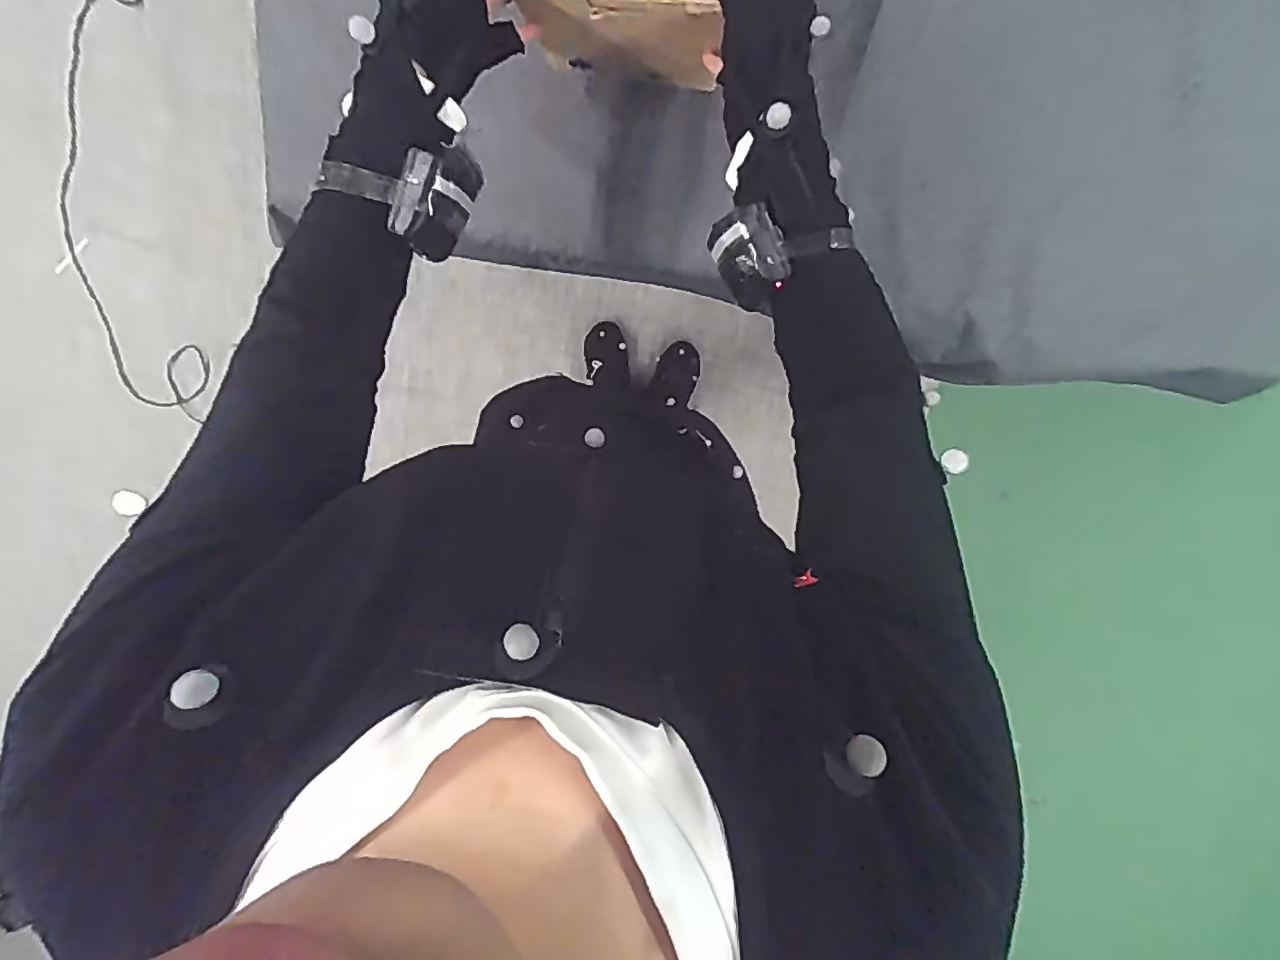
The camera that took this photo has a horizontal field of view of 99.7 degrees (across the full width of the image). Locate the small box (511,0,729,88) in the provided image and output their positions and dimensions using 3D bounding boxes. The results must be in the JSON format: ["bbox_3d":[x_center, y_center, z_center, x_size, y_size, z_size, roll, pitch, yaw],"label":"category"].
[{"bbox_3d":[-0.002,-0.452,0.438,0.168,0.176,0.179,8,109,1],"label":"small box"}]
